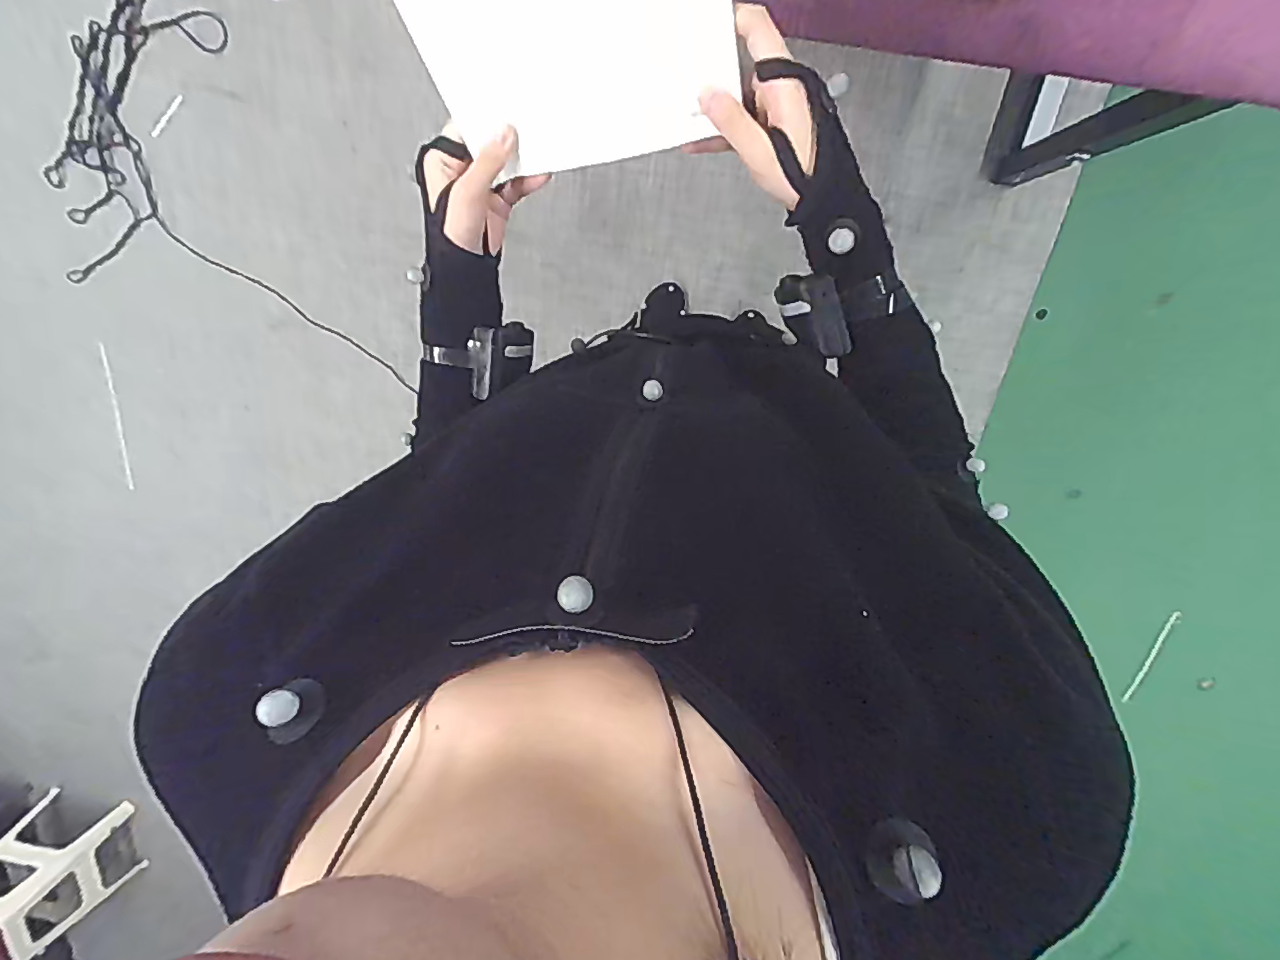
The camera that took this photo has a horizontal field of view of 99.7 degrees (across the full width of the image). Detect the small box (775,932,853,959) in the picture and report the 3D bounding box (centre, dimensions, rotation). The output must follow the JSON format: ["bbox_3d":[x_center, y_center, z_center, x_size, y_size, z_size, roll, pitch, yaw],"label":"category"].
[{"bbox_3d":[0.430,1.246,1.309,0.179,0.176,0.168,3,108,6],"label":"small box"}]
